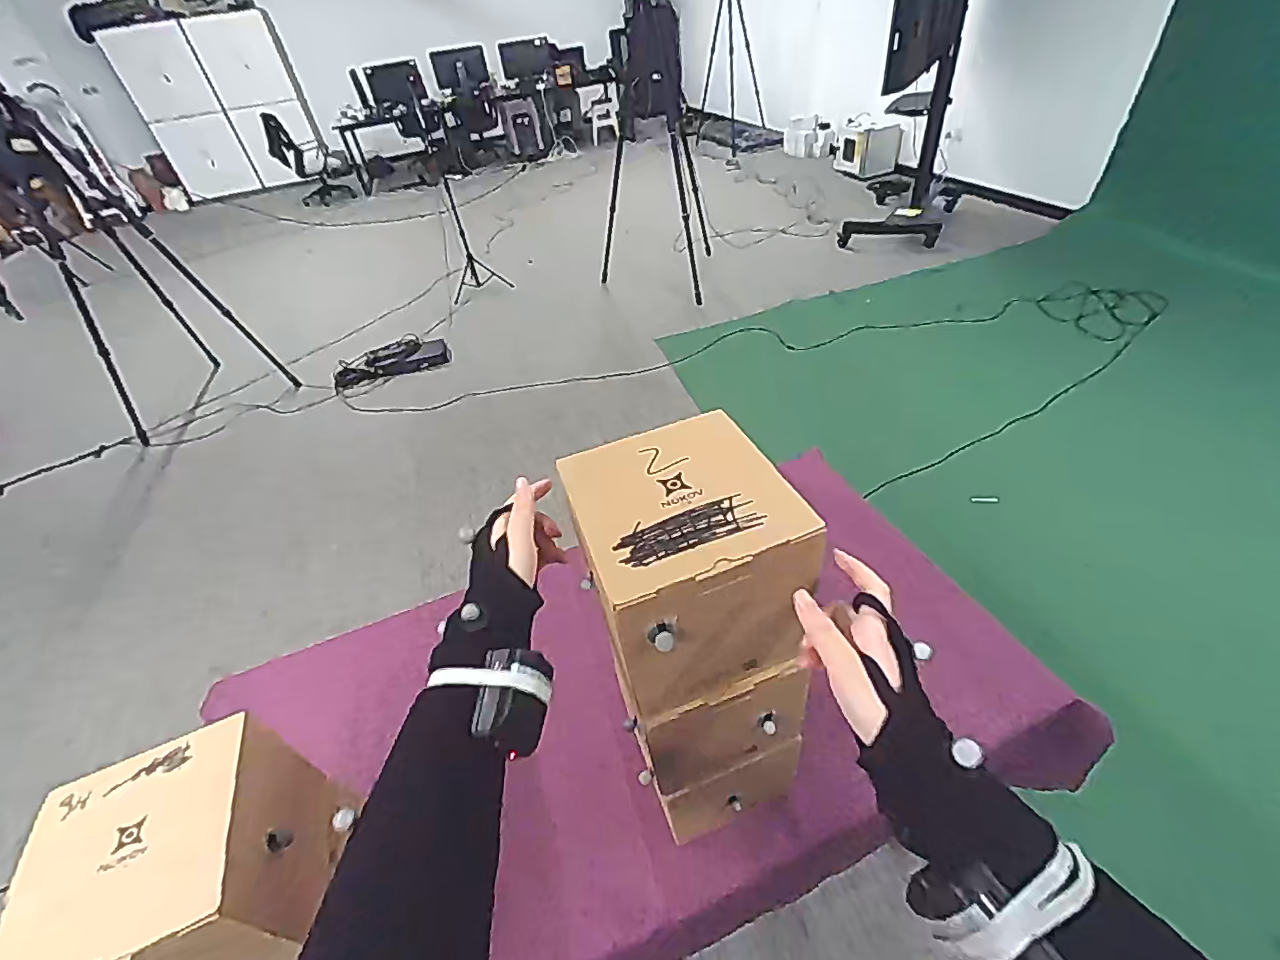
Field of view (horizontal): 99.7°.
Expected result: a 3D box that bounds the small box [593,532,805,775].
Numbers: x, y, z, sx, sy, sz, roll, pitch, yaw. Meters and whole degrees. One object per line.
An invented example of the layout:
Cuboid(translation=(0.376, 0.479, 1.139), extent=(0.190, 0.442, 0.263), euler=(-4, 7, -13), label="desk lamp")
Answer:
Cuboid(translation=(0.061, 0.194, 0.593), extent=(0.168, 0.176, 0.179), euler=(-18, 42, -9), label="small box")

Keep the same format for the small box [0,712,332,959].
Cuboid(translation=(-0.409, 0.361, 0.501), extent=(0.168, 0.176, 0.179), euler=(-21, 43, -14), label="small box")

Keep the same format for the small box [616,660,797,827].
Cuboid(translation=(0.084, 0.316, 0.699), extent=(0.168, 0.176, 0.179), euler=(-19, 42, -10), label="small box")
